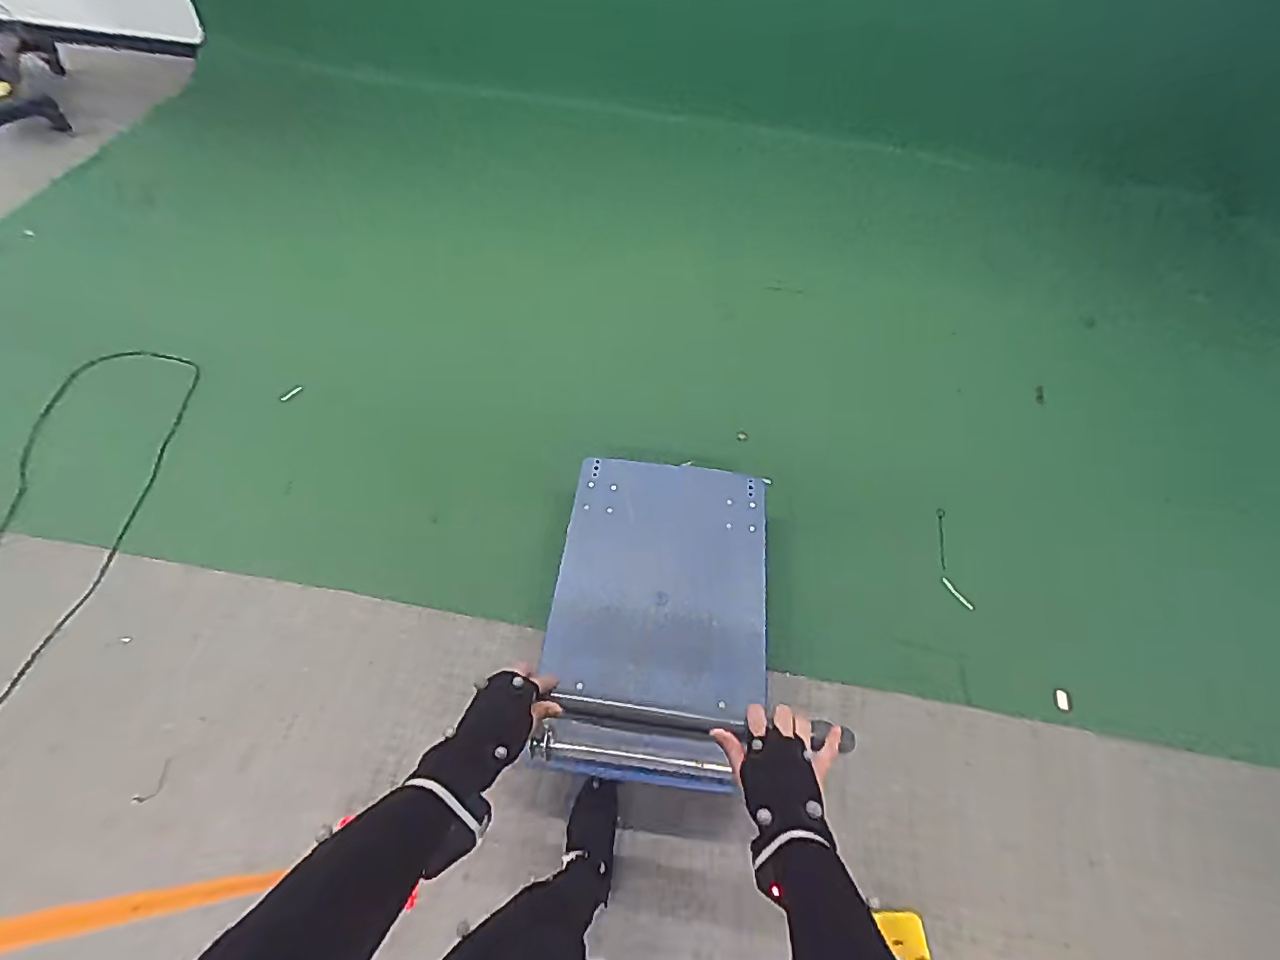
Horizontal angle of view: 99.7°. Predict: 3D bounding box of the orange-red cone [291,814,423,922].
[{"bbox_3d":[-0.612,0.803,1.112,0.199,0.360,0.198,-3,57,-3],"label":"orange-red cone"}]
